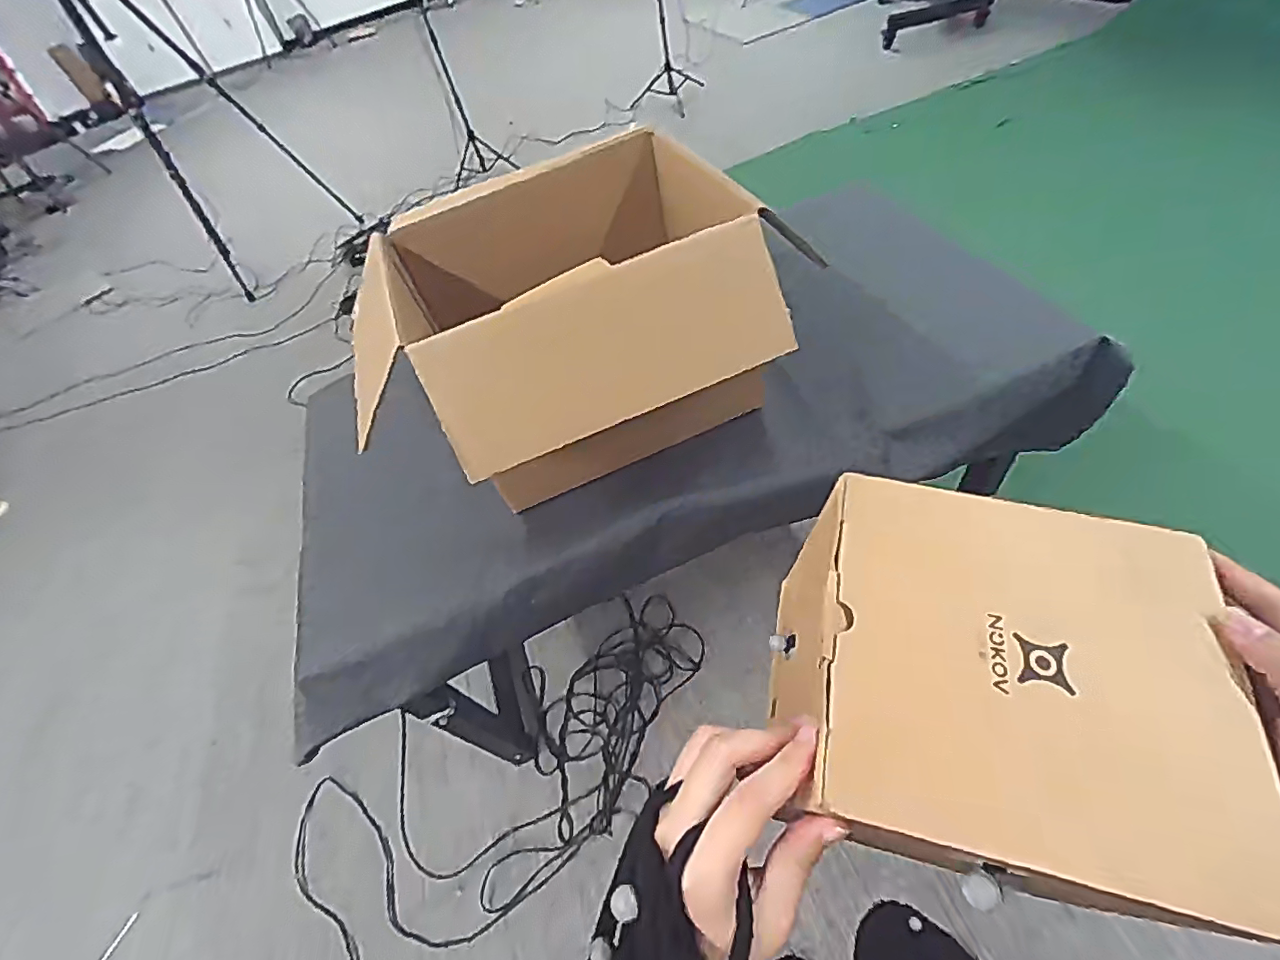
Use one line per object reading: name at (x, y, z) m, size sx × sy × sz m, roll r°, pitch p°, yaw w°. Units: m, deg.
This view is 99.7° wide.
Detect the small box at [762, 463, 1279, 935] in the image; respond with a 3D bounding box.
small box at (0.178, 0.116, 0.309) m, size 0.179 × 0.176 × 0.168 m, roll 11°, pitch 59°, yaw 10°
